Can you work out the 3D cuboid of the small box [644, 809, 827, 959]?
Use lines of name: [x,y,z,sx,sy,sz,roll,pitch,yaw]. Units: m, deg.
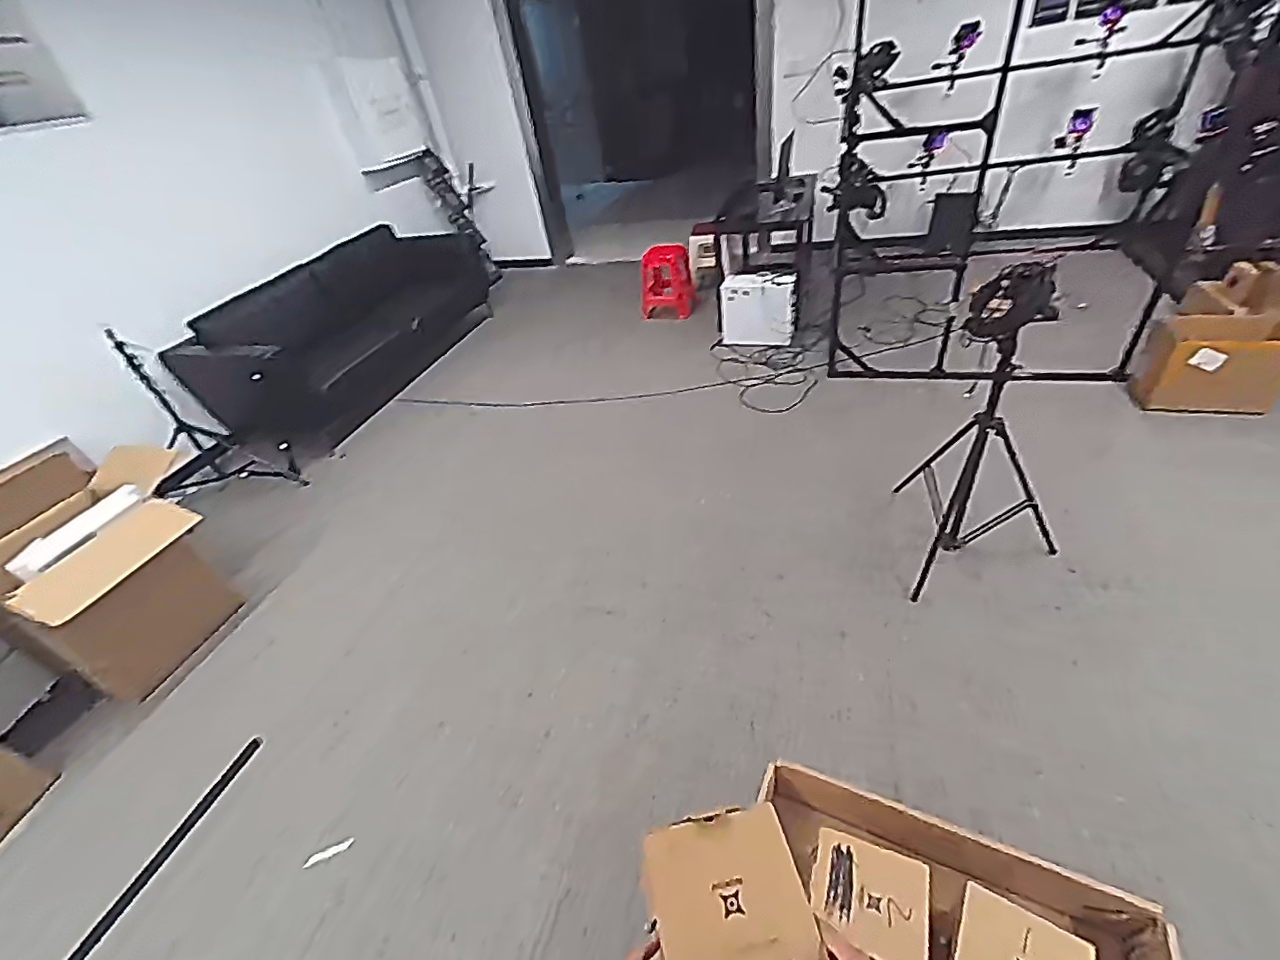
small box: [0.098,0.526,0.626,0.168,0.176,0.179,-7,36,-9]
